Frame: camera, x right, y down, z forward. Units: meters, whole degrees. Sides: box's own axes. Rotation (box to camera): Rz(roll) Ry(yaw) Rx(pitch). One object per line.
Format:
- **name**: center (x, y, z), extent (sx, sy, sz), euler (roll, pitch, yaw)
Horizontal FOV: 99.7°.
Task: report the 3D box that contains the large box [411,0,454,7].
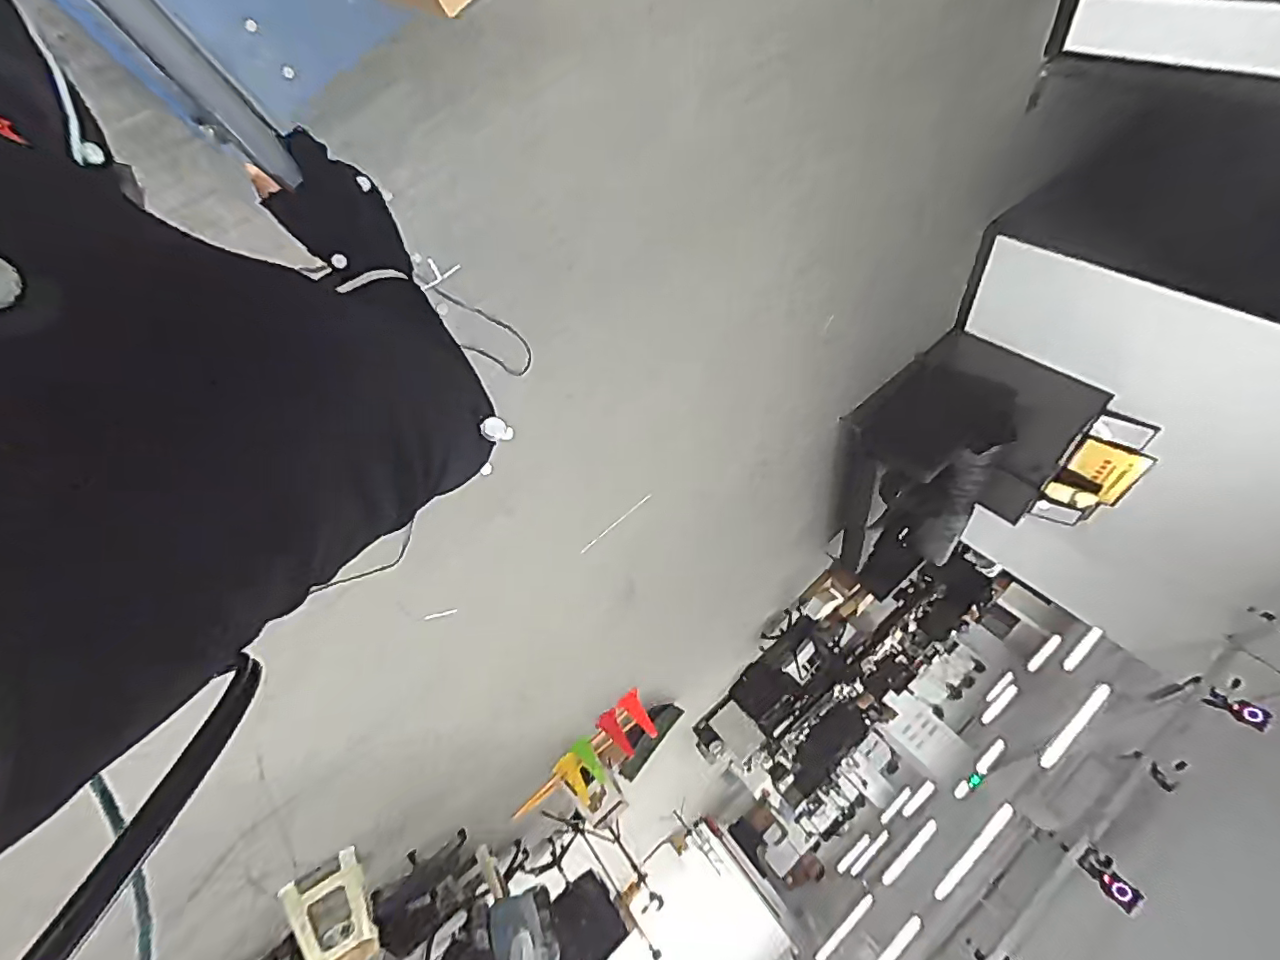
- **large box**: center (-0.331, -0.938, 0.690), extent (0.320, 0.320, 0.408), euler (-45, 146, -3)
